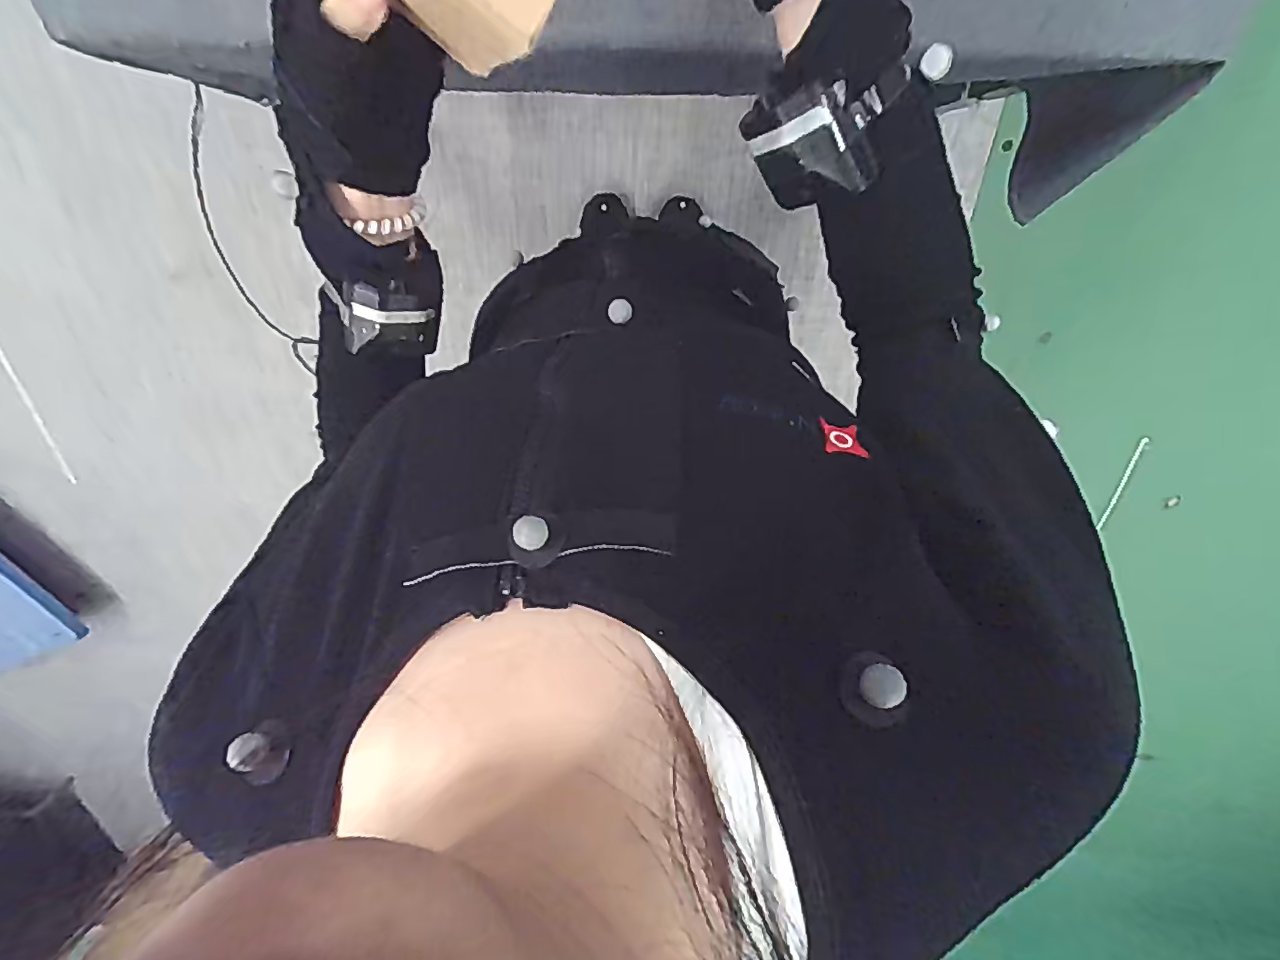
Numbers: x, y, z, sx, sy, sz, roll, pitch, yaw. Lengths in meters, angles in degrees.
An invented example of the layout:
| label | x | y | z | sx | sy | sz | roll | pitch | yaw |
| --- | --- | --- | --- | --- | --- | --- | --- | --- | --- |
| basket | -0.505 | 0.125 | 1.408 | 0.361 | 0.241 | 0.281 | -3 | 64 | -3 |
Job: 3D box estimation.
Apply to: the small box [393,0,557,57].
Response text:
| label | x | y | z | sx | sy | sz | roll | pitch | yaw |
| --- | --- | --- | --- | --- | --- | --- | --- | --- | --- |
| small box | -0.074 | -0.282 | 0.170 | 0.168 | 0.176 | 0.179 | 24 | 110 | -33 |
